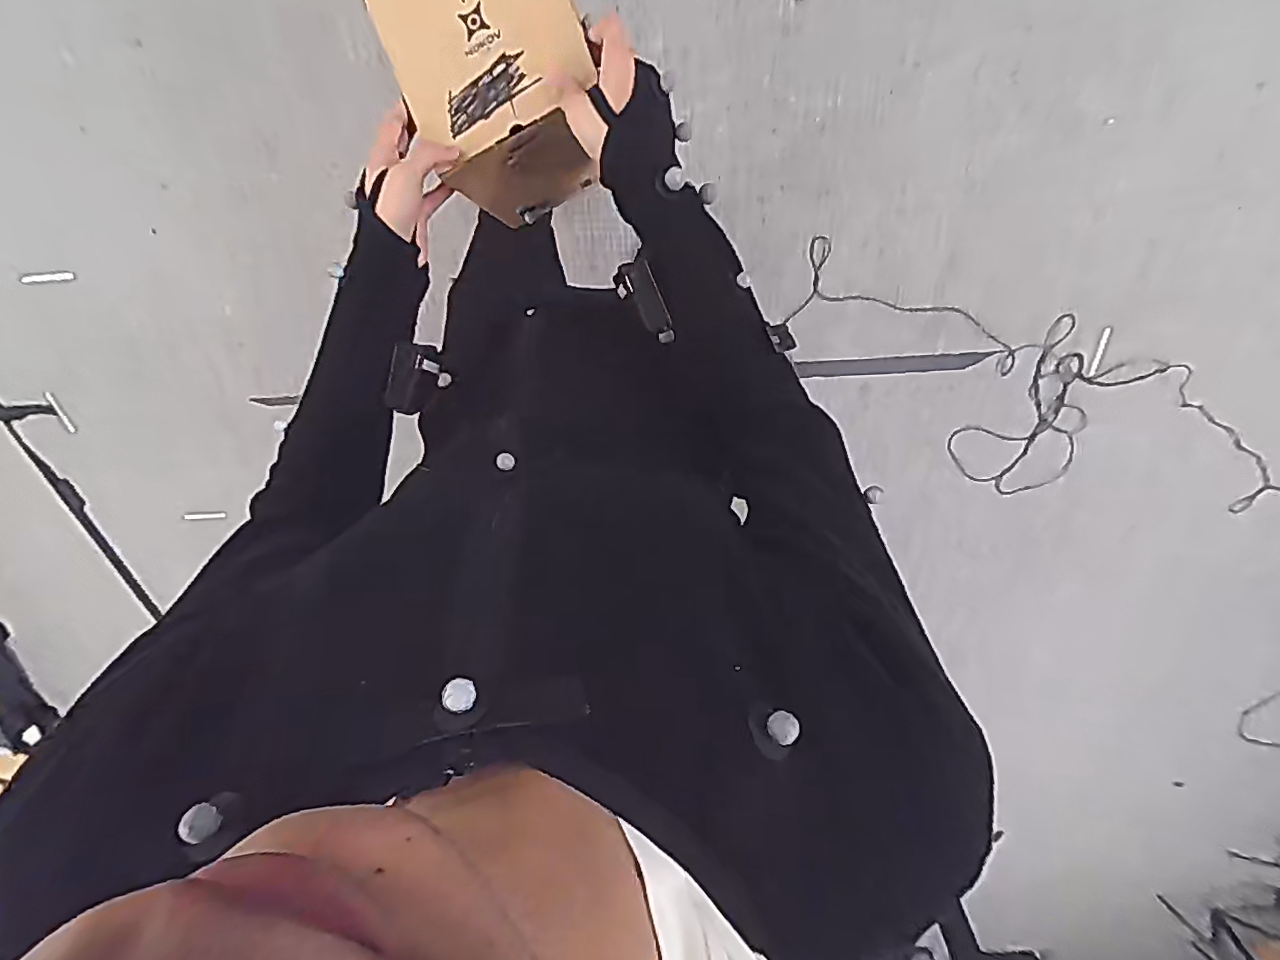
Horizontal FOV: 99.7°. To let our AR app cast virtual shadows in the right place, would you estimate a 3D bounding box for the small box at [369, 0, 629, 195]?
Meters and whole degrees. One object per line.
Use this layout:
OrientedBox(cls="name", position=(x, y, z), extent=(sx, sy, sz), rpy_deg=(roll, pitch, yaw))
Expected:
OrientedBox(cls="small box", position=(-0.123, -0.404, 0.519), extent=(0.168, 0.176, 0.179), rpy_deg=(-20, 95, 13))
